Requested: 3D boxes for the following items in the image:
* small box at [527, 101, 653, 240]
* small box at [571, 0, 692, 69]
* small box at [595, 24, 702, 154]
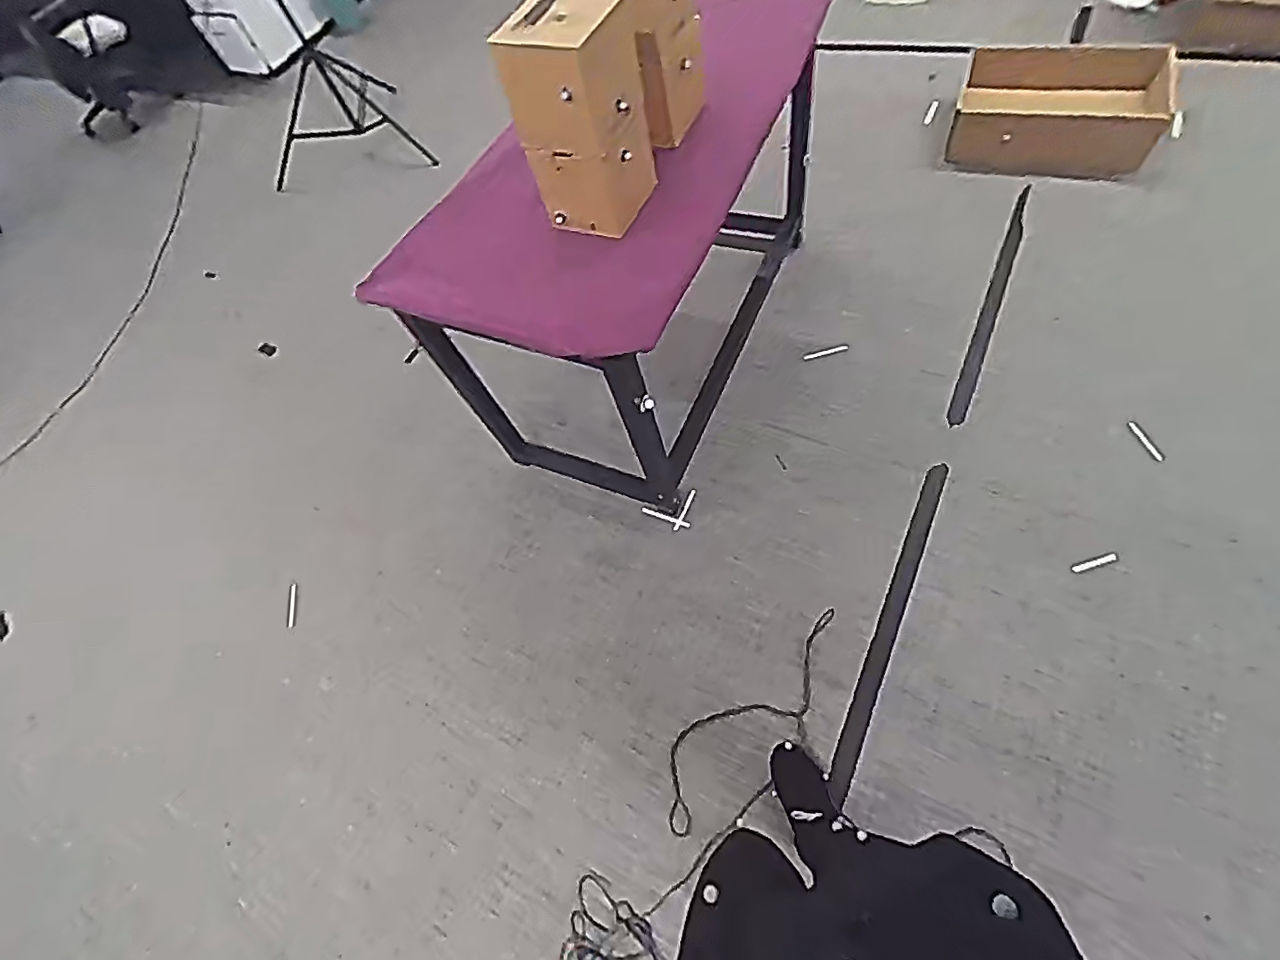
[{"bbox_3d":[-0.087,-0.607,1.068,0.168,0.176,0.179,19,68,20],"label":"small box"},{"bbox_3d":[-0.014,-0.919,1.027,0.179,0.176,0.168,20,69,21],"label":"small box"},{"bbox_3d":[0.028,-0.847,1.170,0.168,0.176,0.179,20,69,21],"label":"small box"}]
